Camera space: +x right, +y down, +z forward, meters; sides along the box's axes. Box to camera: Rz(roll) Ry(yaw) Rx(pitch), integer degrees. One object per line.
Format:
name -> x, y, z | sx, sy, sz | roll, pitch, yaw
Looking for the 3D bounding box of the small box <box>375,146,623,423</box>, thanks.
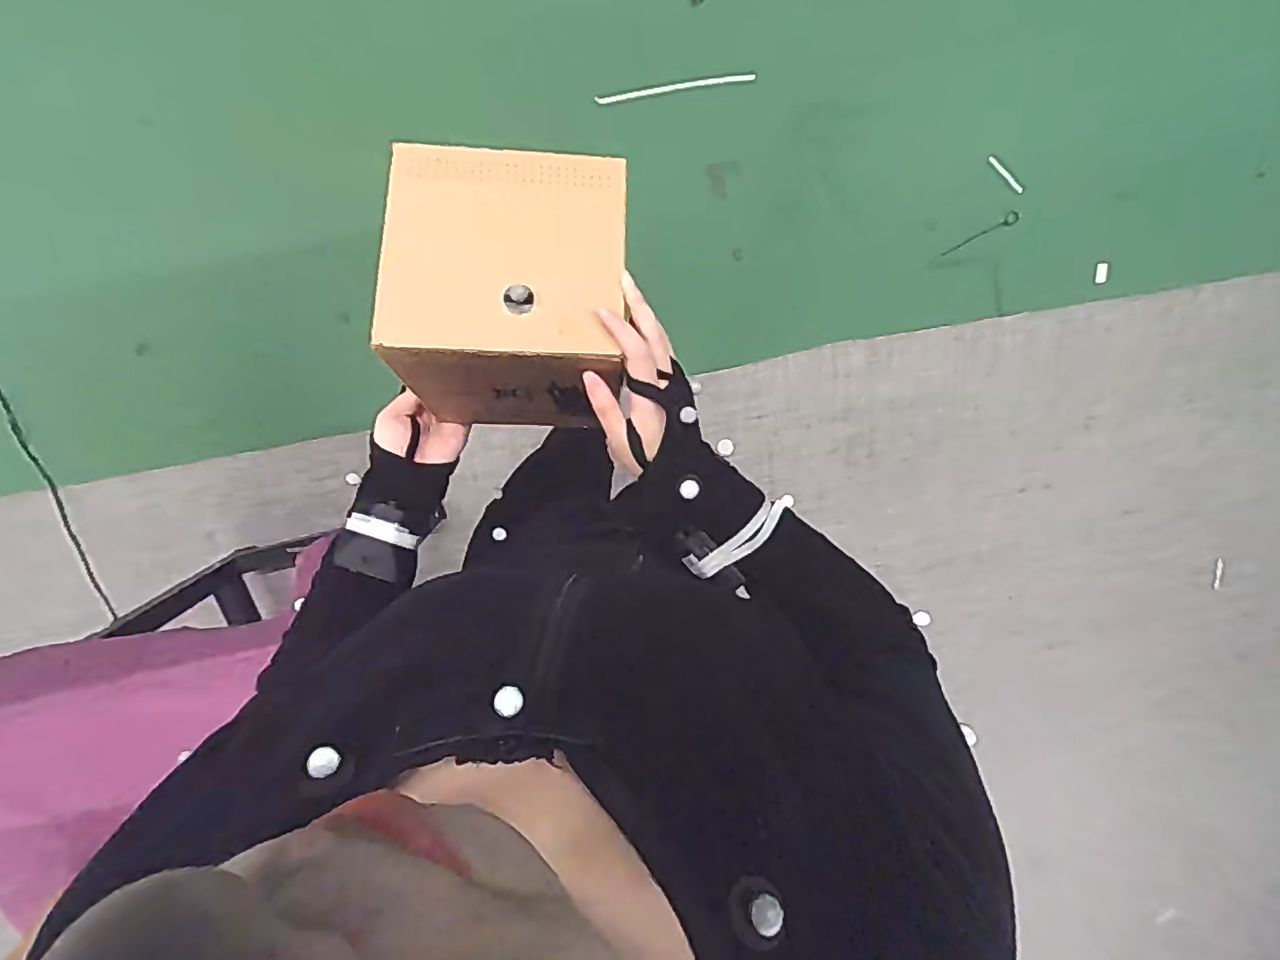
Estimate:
small box -> -0.106, -0.156, 0.473 | 0.179, 0.168, 0.176 | 2, 77, -5
